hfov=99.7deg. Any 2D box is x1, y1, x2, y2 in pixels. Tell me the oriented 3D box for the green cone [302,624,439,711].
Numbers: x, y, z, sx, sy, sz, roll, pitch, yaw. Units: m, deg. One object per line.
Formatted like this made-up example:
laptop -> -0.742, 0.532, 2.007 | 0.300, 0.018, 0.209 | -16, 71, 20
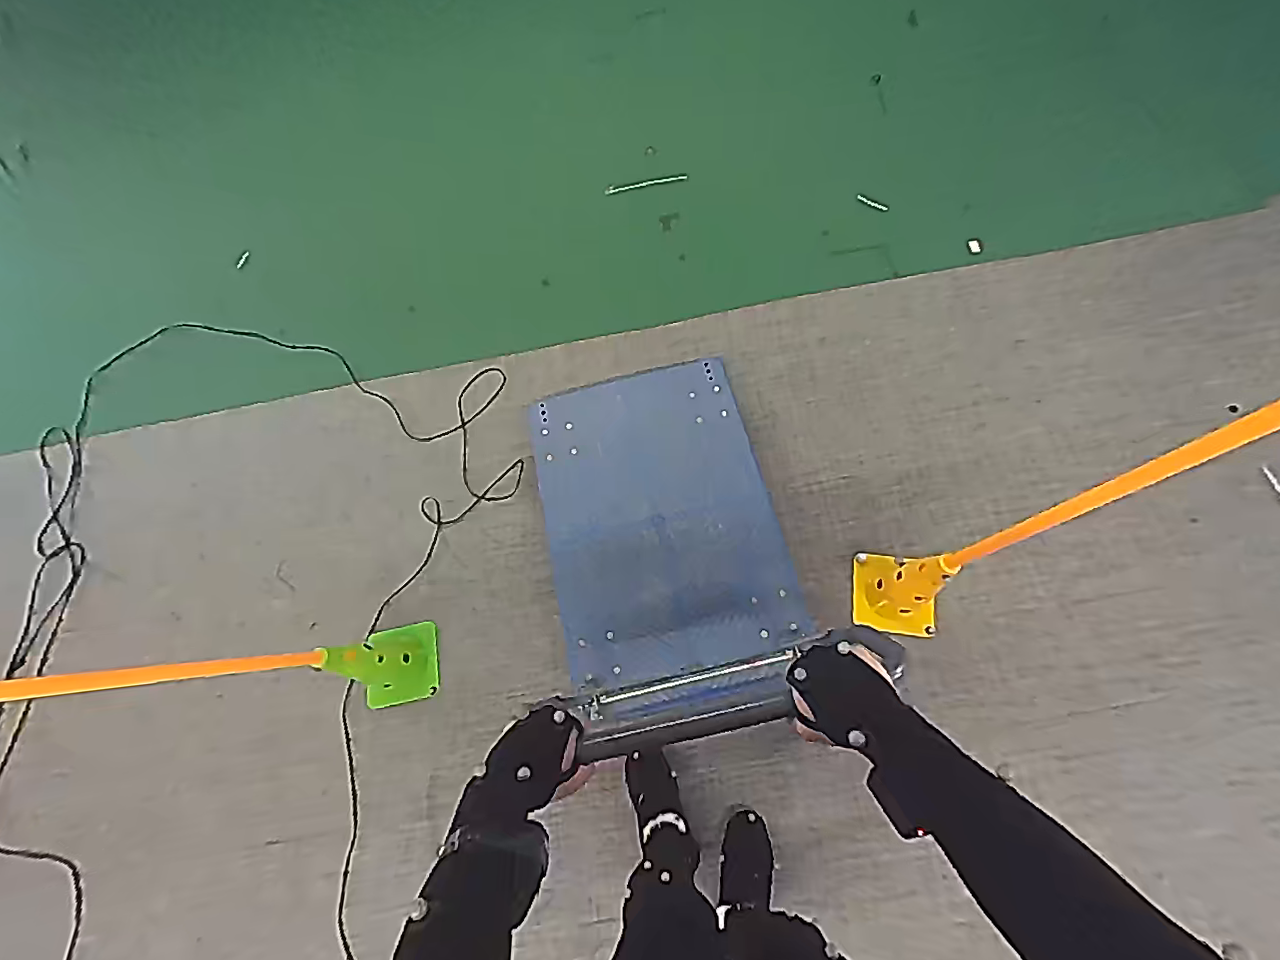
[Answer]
green cone -> -0.673, 0.445, 1.314 | 0.202, 0.368, 0.200 | -15, 67, 3
